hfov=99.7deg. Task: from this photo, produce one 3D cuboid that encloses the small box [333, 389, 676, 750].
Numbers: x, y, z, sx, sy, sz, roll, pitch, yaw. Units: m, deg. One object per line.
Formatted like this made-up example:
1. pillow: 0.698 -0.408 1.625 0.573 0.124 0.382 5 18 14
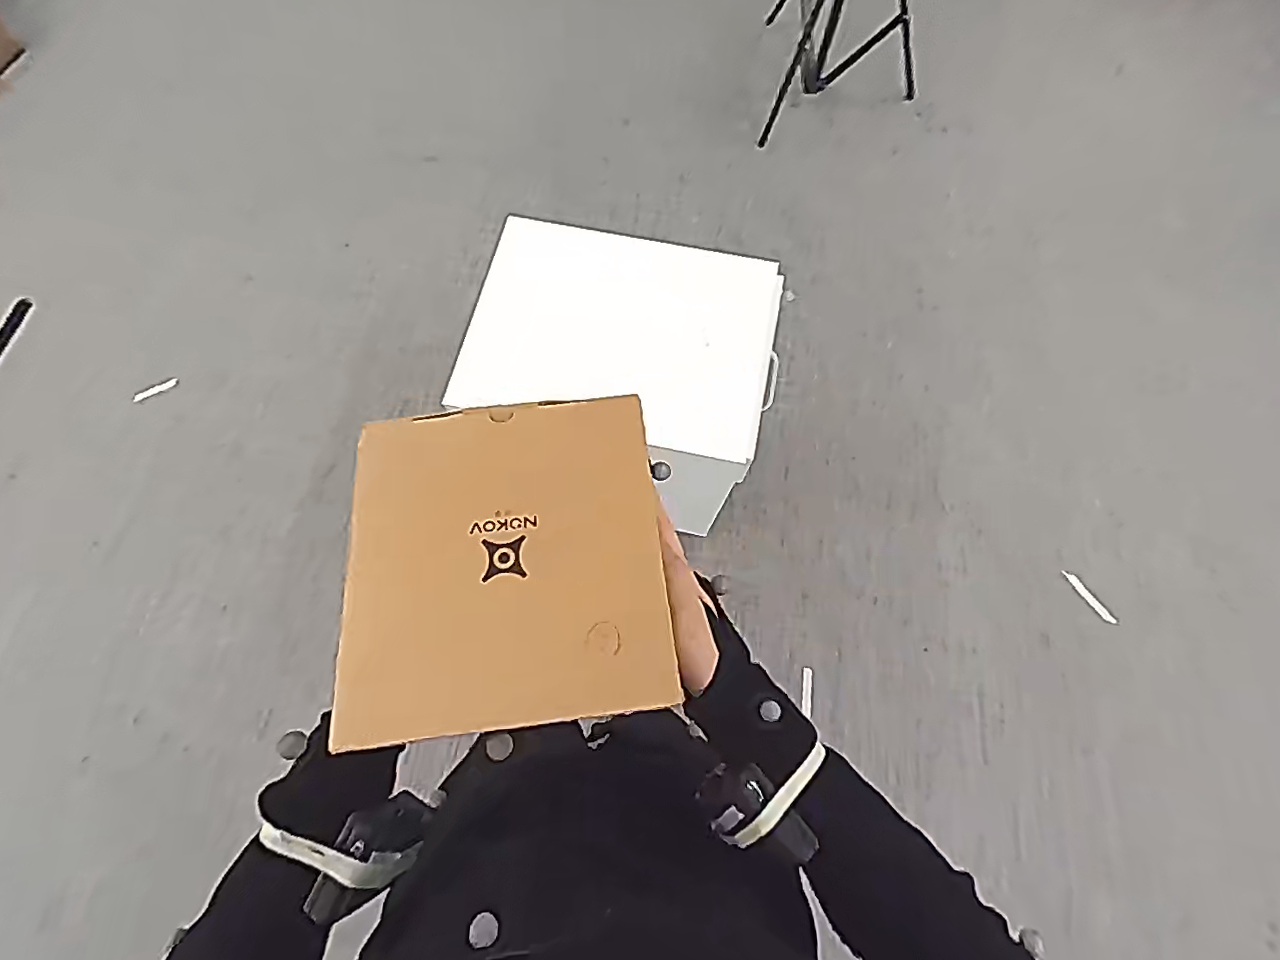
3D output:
1. small box: -0.071 0.066 0.356 0.168 0.176 0.179 -7 66 -3
